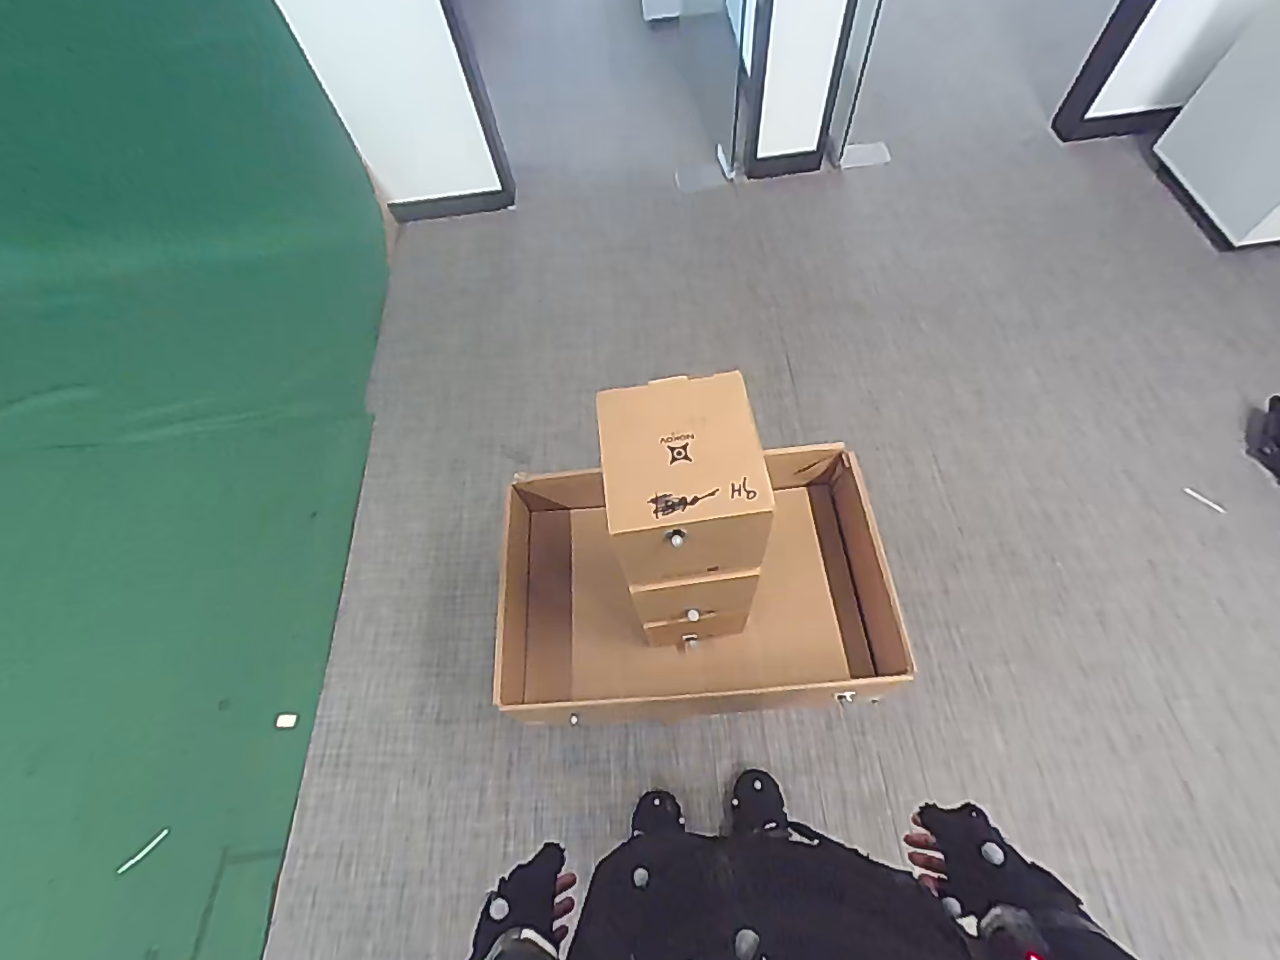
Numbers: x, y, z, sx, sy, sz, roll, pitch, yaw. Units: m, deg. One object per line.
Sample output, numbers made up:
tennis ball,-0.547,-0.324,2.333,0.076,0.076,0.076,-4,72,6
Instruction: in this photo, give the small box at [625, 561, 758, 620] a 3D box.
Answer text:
small box,0.065,0.087,0.775,0.168,0.176,0.179,-8,62,3

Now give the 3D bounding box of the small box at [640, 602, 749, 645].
small box,0.079,0.166,0.918,0.168,0.176,0.179,-10,62,1

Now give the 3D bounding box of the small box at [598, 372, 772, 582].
small box,0.048,0.003,0.635,0.168,0.176,0.179,-9,60,3
